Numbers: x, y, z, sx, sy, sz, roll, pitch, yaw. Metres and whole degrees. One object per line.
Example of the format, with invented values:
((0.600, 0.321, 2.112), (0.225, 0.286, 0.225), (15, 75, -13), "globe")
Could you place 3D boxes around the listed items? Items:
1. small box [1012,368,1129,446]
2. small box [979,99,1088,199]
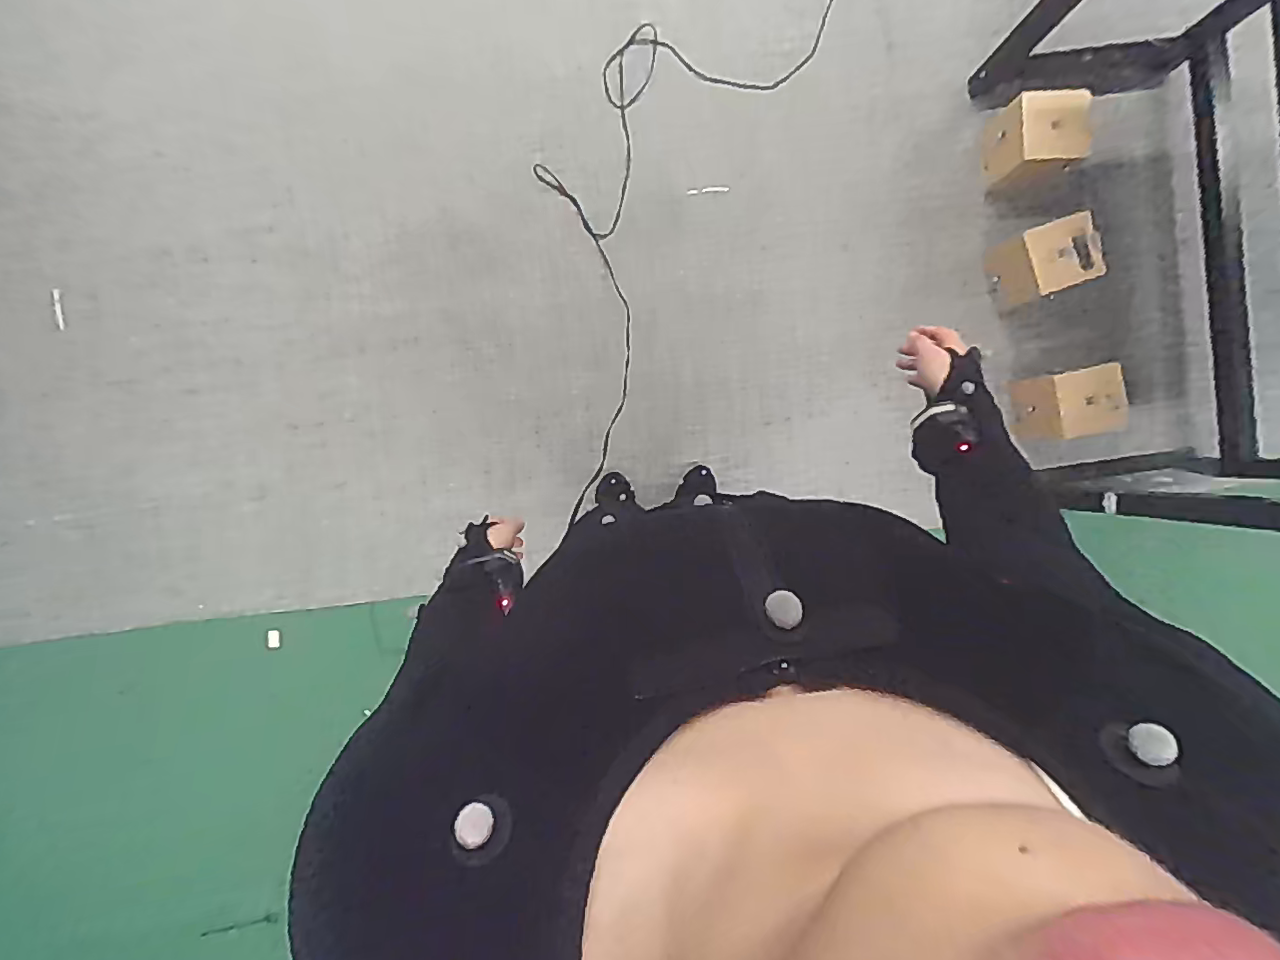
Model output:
((1.125, -0.187, 1.431), (0.179, 0.176, 0.168), (-12, 92, -1), "small box")
((1.017, -0.859, 1.416), (0.179, 0.176, 0.168), (-3, 91, -2), "small box")
